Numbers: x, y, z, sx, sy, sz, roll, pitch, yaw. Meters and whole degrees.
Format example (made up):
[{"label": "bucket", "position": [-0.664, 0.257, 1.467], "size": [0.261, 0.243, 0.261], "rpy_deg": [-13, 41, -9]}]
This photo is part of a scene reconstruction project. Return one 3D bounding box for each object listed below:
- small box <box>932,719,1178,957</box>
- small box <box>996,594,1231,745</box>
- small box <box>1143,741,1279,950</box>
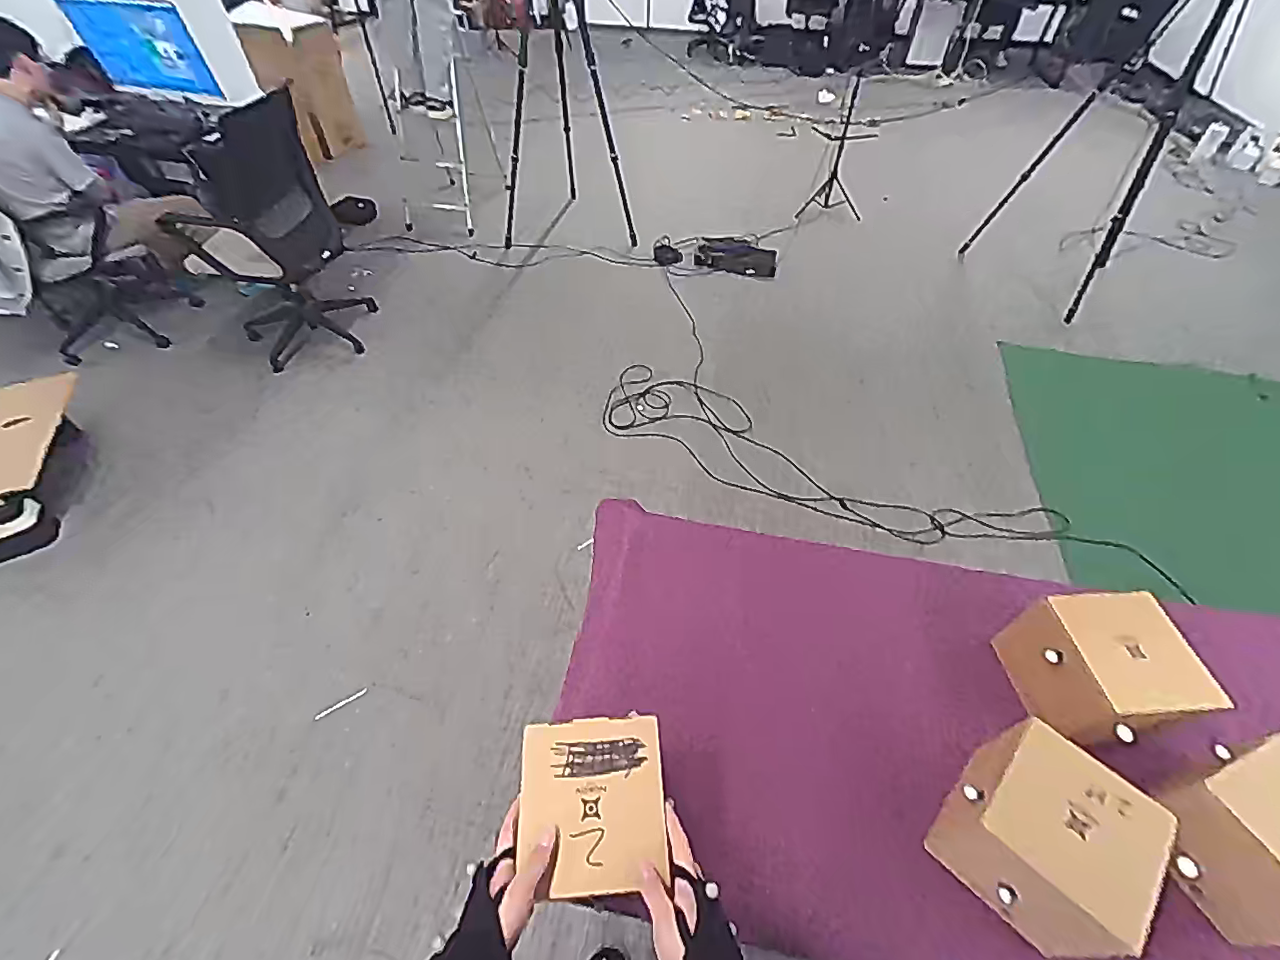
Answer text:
[{"label": "small box", "position": [0.504, 0.449, 0.683], "size": [0.179, 0.176, 0.168], "rpy_deg": [-36, 60, -28]}, {"label": "small box", "position": [0.697, 0.294, 0.826], "size": [0.168, 0.176, 0.179], "rpy_deg": [-2, 49, -2]}, {"label": "small box", "position": [0.789, 0.457, 0.685], "size": [0.179, 0.176, 0.168], "rpy_deg": [-17, 51, -14]}]
